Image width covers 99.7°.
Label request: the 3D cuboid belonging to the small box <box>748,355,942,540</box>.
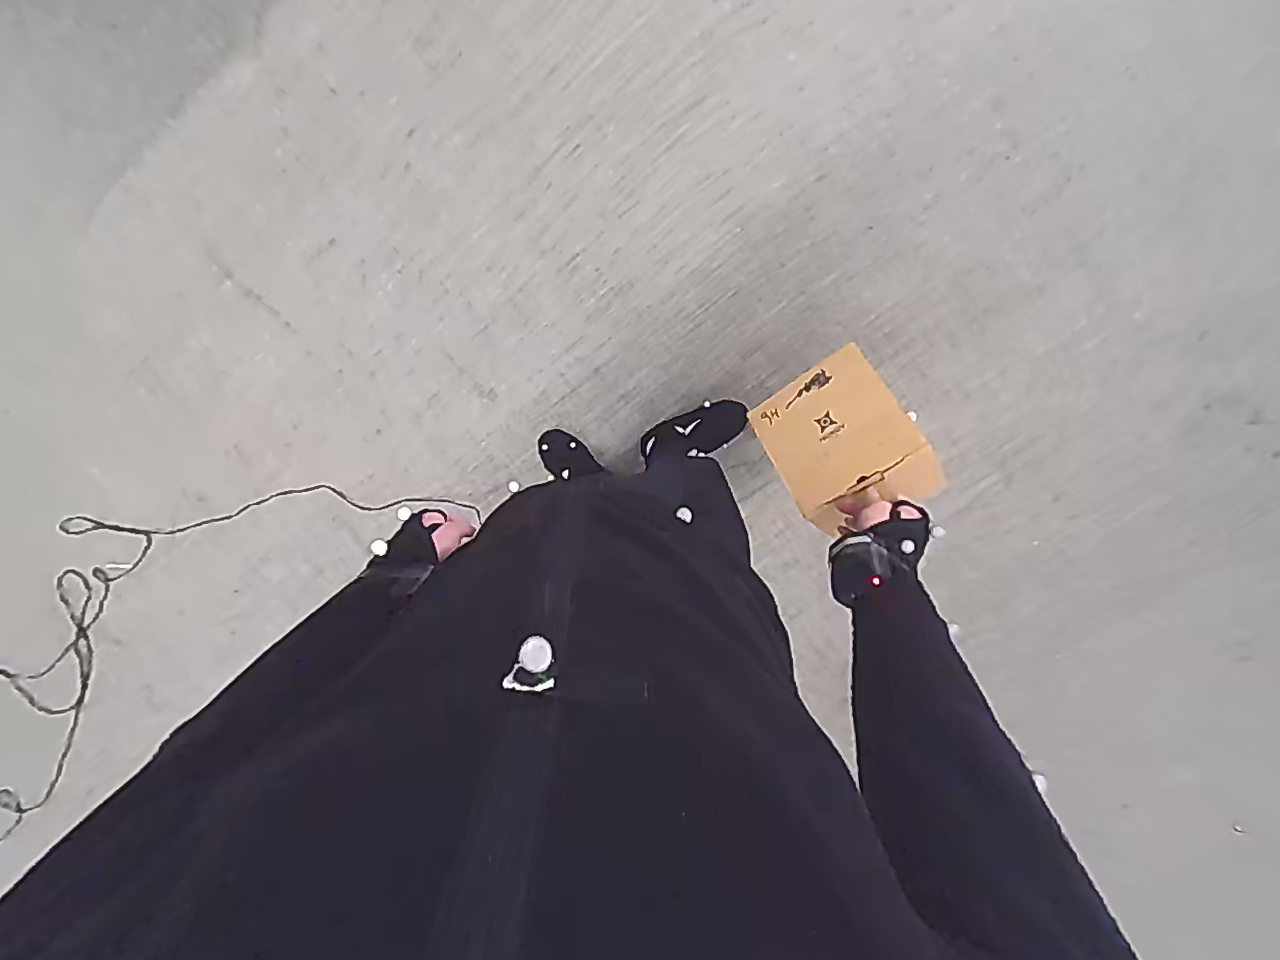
[{"bbox_3d":[0.286,-0.032,0.750,0.168,0.176,0.179,-38,55,20],"label":"small box"}]
